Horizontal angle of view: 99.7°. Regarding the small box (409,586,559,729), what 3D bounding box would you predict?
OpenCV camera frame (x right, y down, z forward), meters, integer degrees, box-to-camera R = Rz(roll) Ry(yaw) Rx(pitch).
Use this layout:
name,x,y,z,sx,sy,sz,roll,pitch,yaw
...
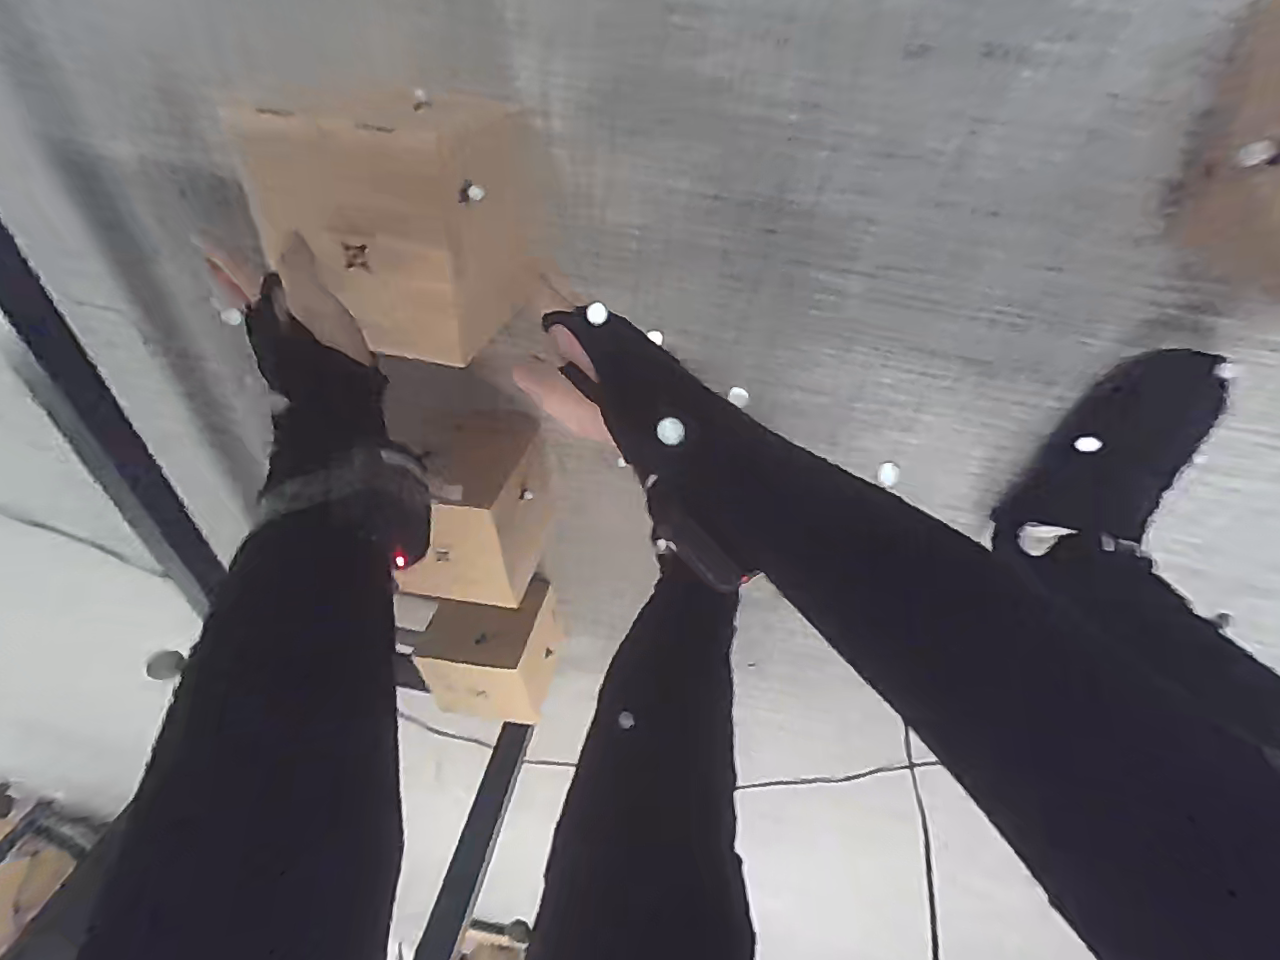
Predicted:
name,x,y,z,sx,sy,sz,roll,pitch,yaw
small box,-0.241,0.283,0.897,0.179,0.176,0.168,4,129,10

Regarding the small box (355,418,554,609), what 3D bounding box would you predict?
name,x,y,z,sx,sy,sz,roll,pitch,yaw
small box,-0.220,0.036,0.697,0.168,0.176,0.179,6,129,10
